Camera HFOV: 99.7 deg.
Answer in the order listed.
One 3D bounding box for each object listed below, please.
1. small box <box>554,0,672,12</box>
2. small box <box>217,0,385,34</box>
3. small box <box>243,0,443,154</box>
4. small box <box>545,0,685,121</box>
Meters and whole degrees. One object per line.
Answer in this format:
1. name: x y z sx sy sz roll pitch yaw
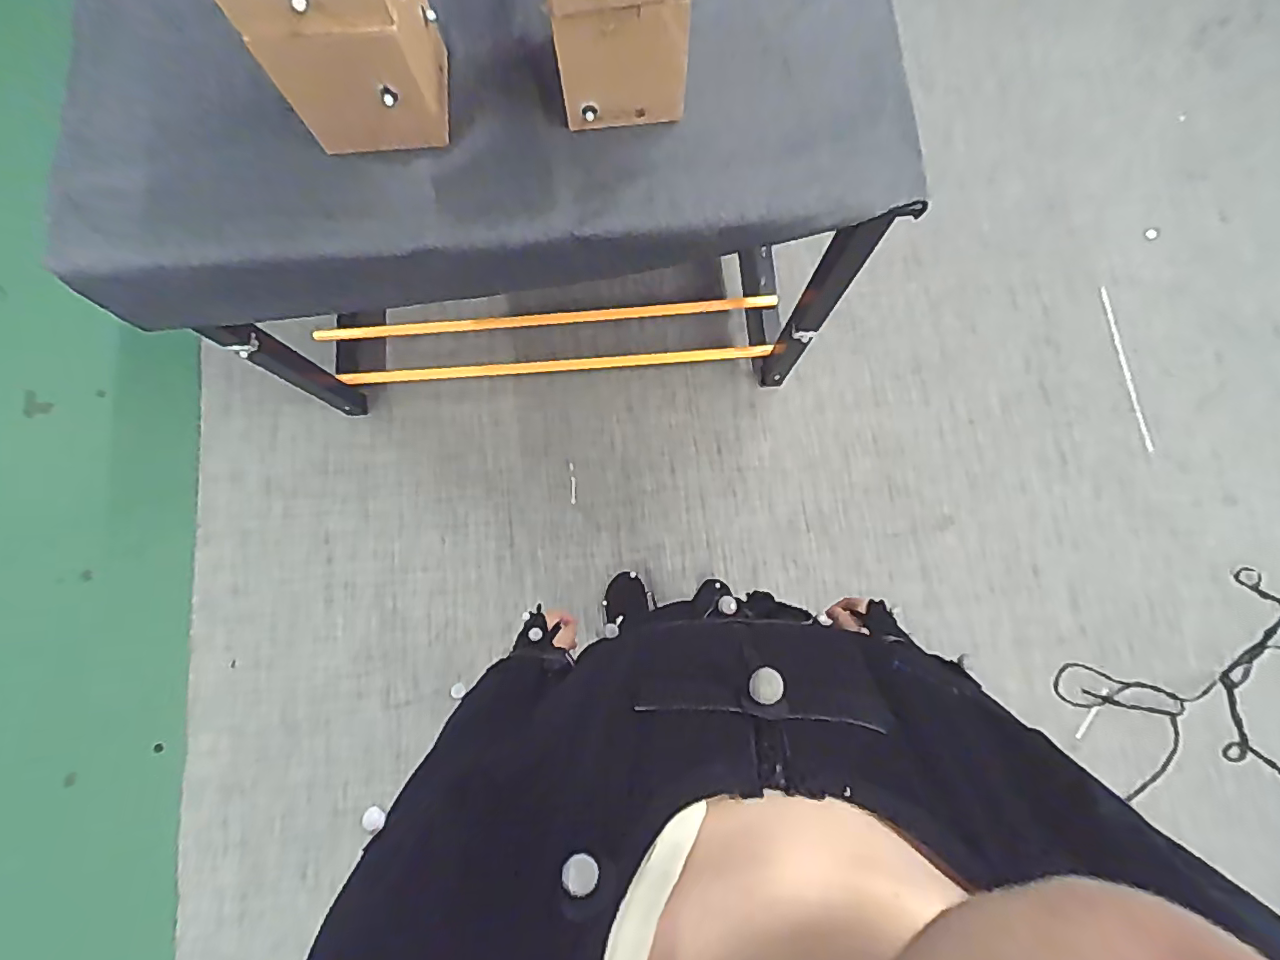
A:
1. small box: -0.033 -0.636 0.548 0.168 0.176 0.179 -10 79 -1
2. small box: -0.371 -0.600 0.545 0.179 0.176 0.168 -6 78 -1
3. small box: -0.368 -0.561 0.705 0.179 0.176 0.168 -5 78 0
4. small box: -0.034 -0.607 0.711 0.168 0.176 0.179 -6 78 -1
